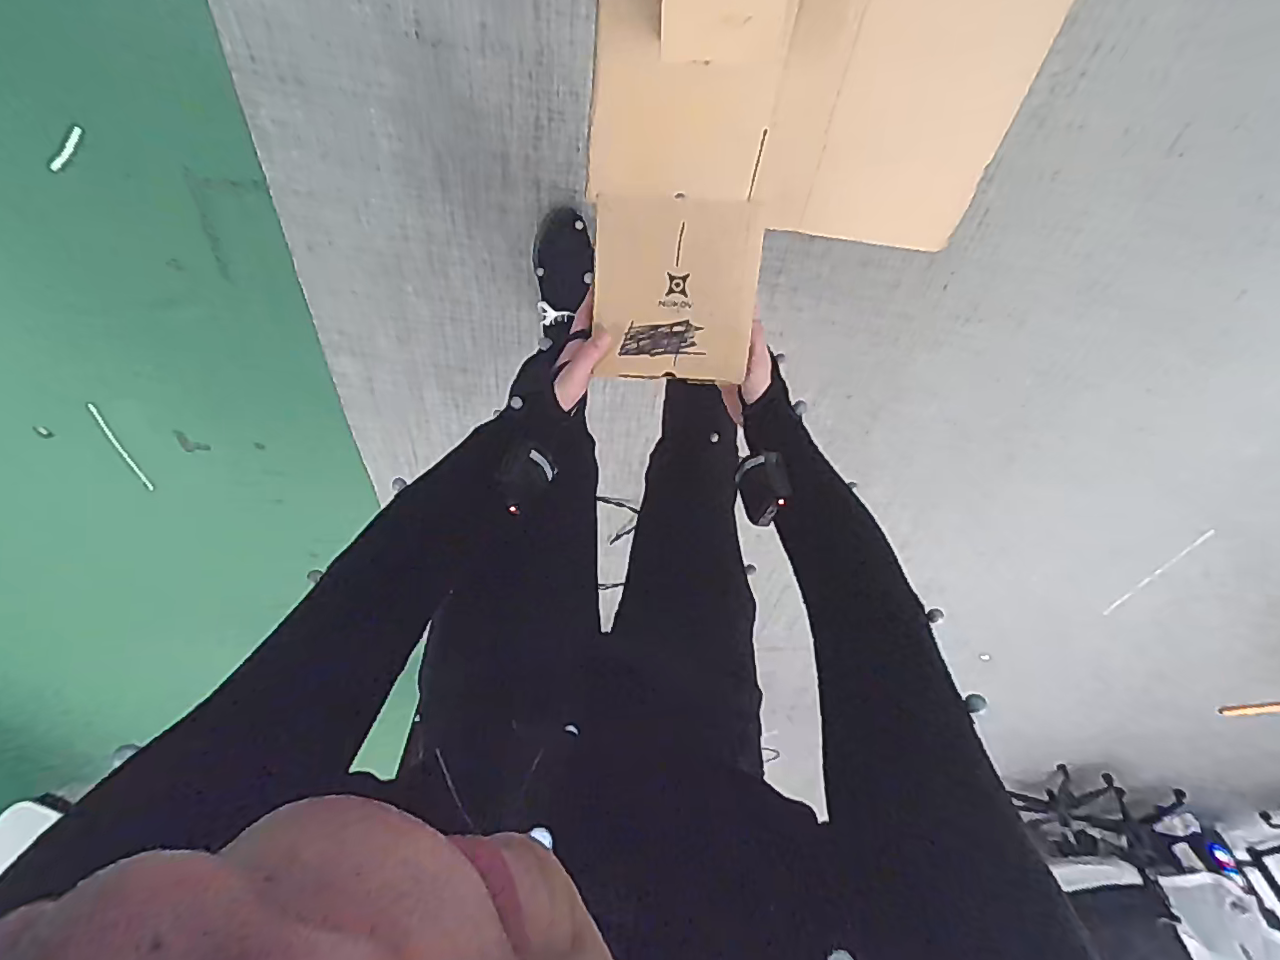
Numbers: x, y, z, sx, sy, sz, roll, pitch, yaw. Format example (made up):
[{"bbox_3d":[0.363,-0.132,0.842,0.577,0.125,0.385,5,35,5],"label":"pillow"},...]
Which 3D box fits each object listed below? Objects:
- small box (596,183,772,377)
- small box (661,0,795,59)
[{"bbox_3d":[0.041,-0.222,0.614,0.168,0.176,0.179,2,110,-1],"label":"small box"},{"bbox_3d":[0.114,-0.674,0.706,0.168,0.176,0.179,2,136,0],"label":"small box"}]
